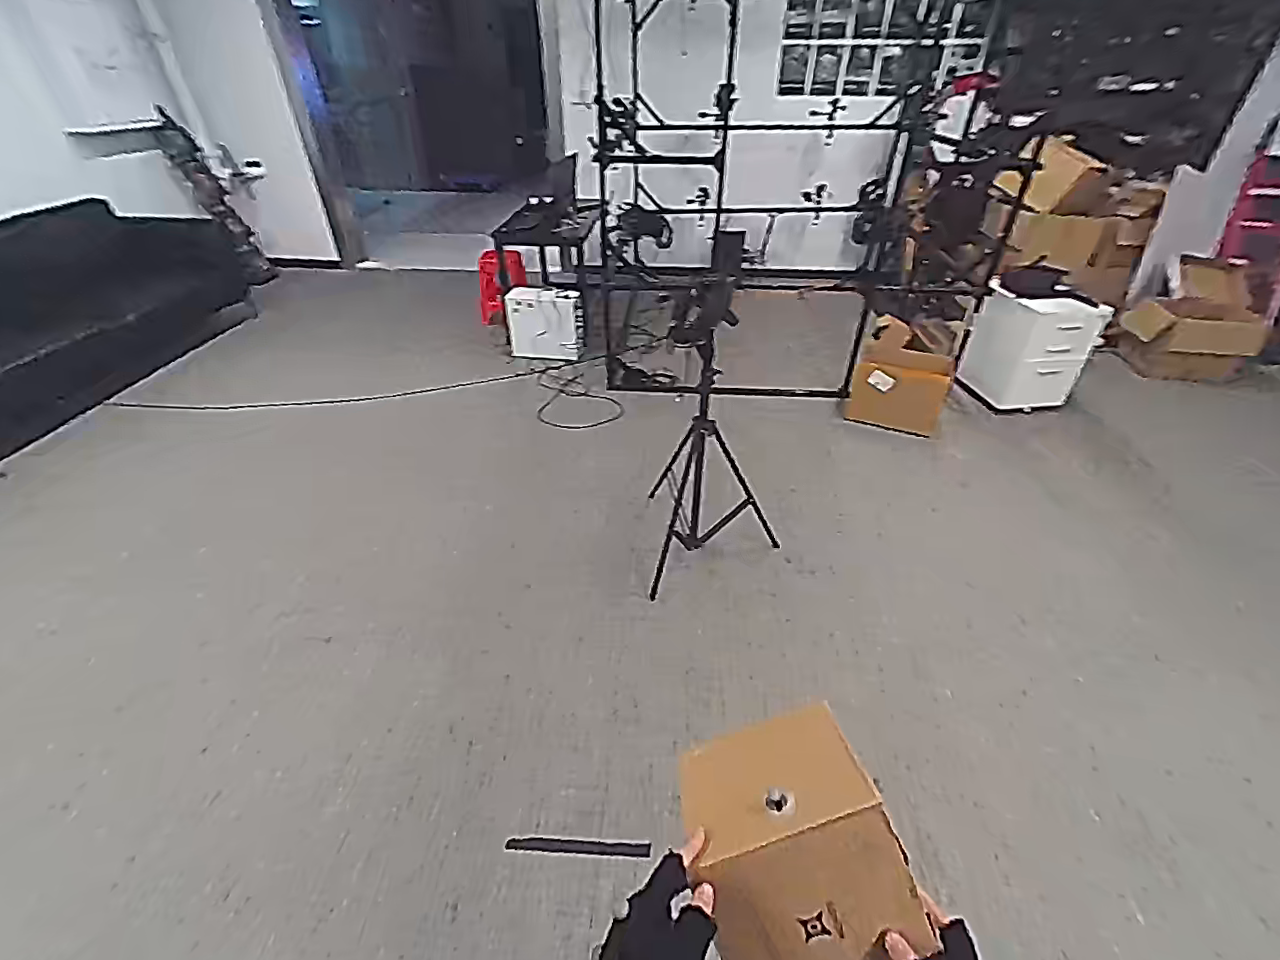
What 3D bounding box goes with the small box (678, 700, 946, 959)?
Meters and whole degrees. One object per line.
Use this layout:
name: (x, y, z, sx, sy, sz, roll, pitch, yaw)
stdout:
small box: (0.146, 0.345, 0.522, 0.179, 0.168, 0.176, -23, 3, 4)
